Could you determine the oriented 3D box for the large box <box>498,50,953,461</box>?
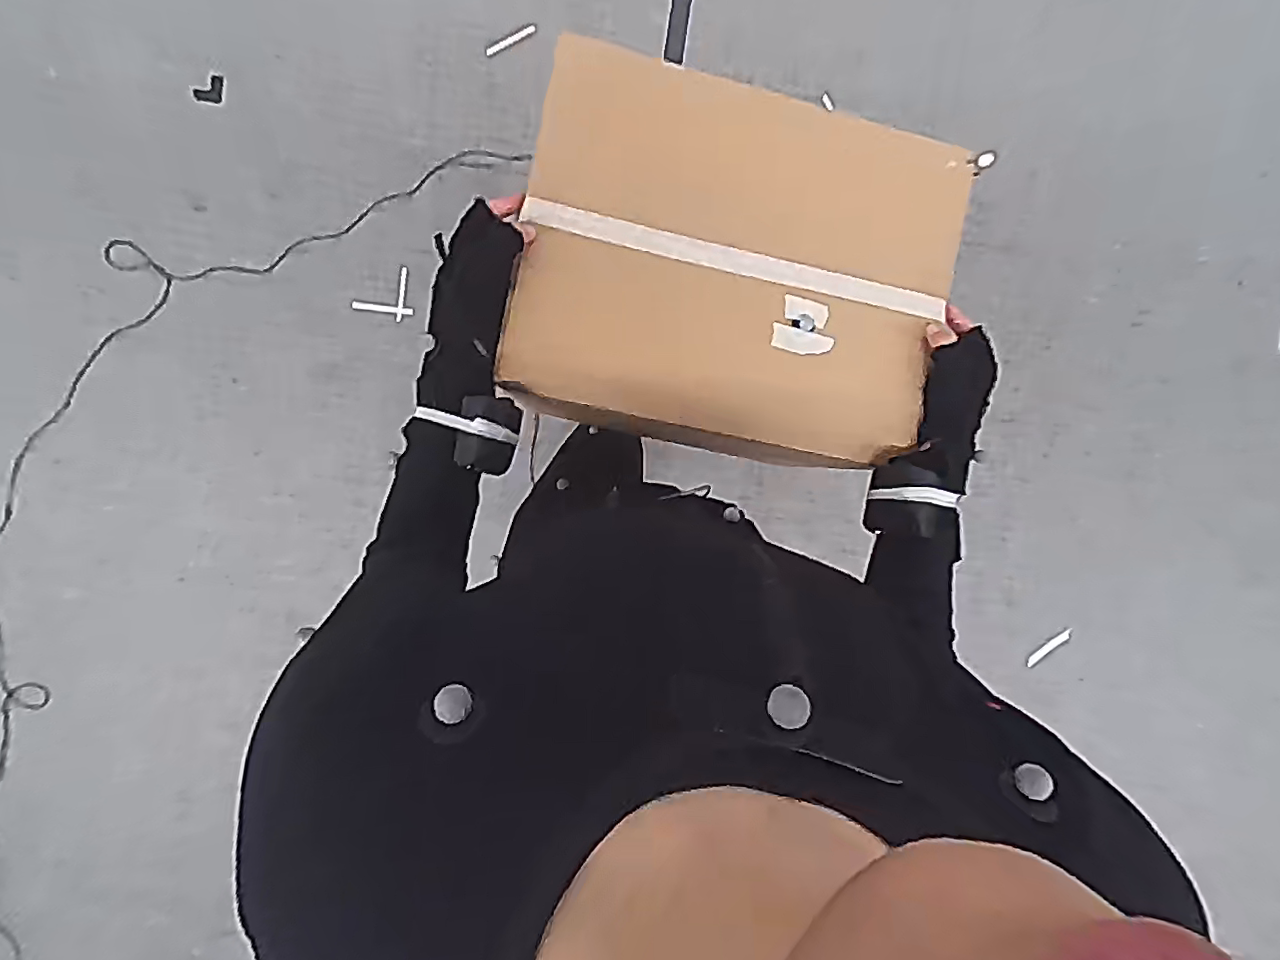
[{"bbox_3d":[0.070,-0.209,0.658,0.408,0.320,0.320,11,93,-8],"label":"large box"}]
